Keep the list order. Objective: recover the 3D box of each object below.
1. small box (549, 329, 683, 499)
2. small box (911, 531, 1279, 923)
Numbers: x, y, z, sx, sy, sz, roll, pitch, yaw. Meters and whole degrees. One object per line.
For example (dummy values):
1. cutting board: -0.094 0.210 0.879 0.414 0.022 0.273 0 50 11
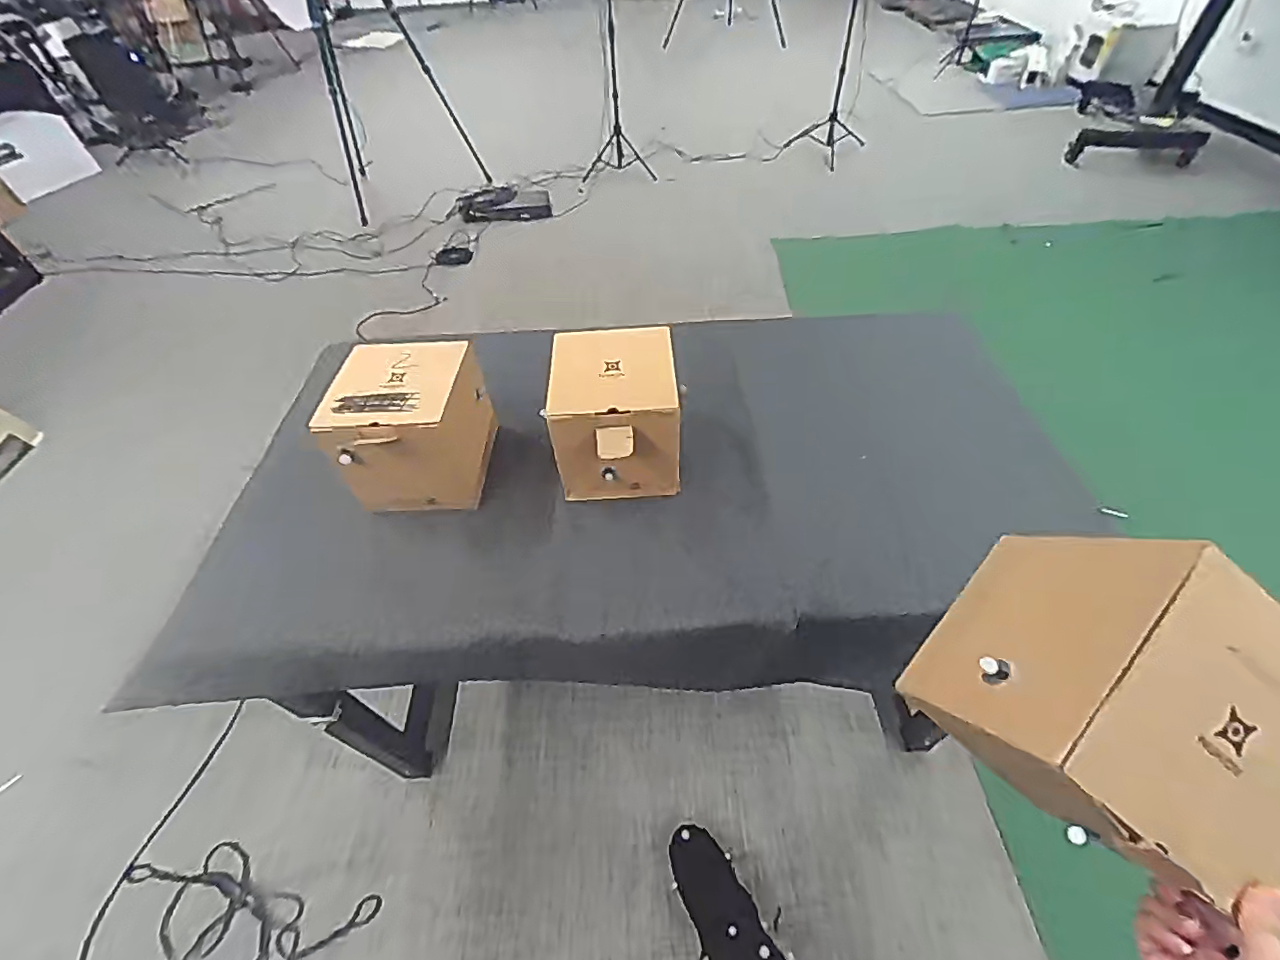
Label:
1. small box: -0.030 -0.092 0.770 0.168 0.176 0.179 -3 50 0
2. small box: 0.345 0.156 0.410 0.168 0.176 0.179 40 81 -3
